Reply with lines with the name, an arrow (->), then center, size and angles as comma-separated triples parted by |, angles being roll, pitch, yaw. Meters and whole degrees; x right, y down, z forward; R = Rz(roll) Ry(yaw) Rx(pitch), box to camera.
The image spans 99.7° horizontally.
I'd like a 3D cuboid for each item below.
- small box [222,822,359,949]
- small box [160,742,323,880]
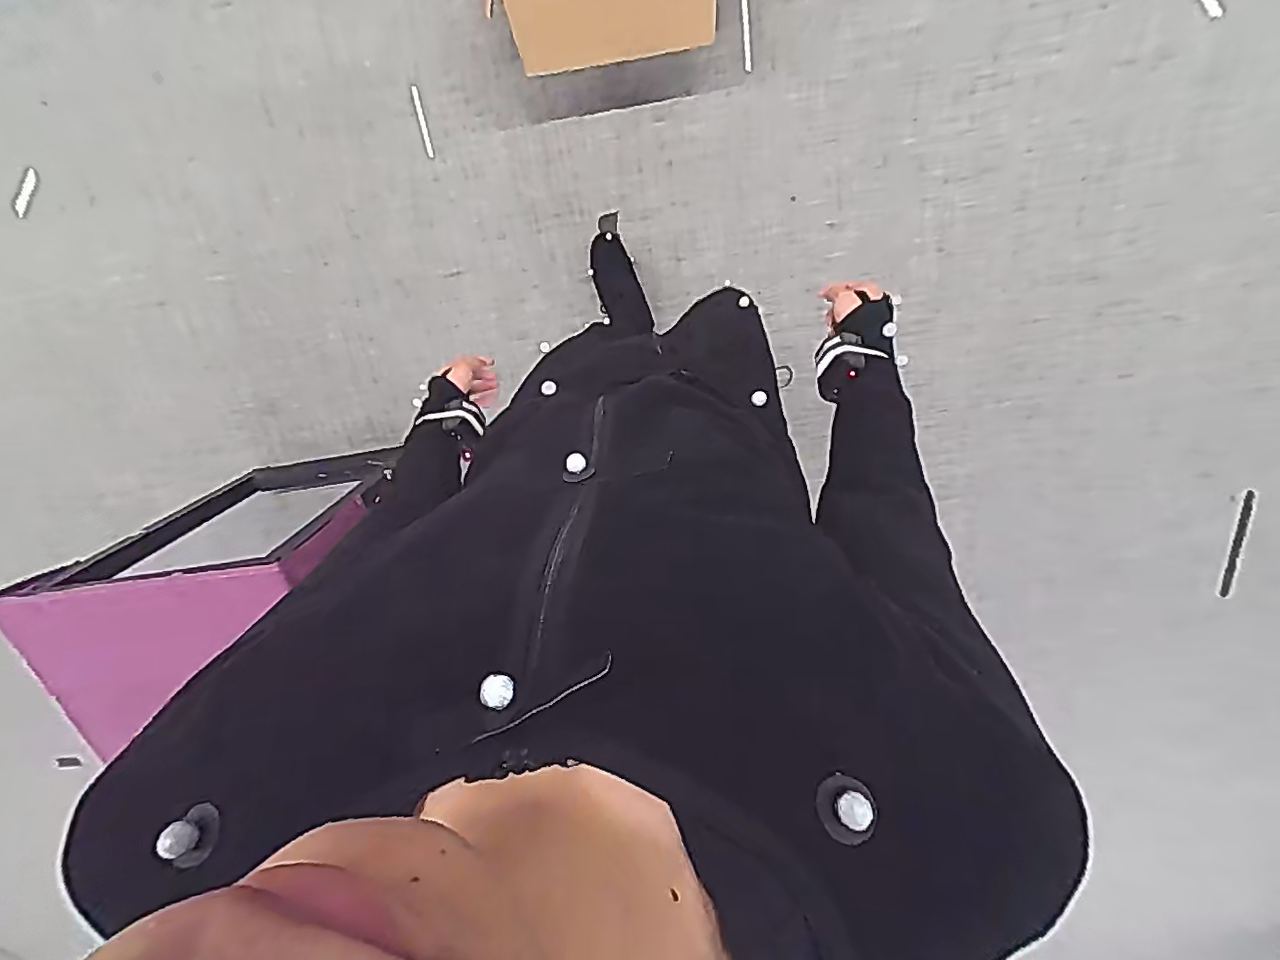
small box -> -0.760, 0.897, 1.207 | 0.179, 0.176, 0.168 | -10, 112, 5
small box -> -0.807, 0.677, 1.117 | 0.179, 0.176, 0.168 | -13, 112, 6
